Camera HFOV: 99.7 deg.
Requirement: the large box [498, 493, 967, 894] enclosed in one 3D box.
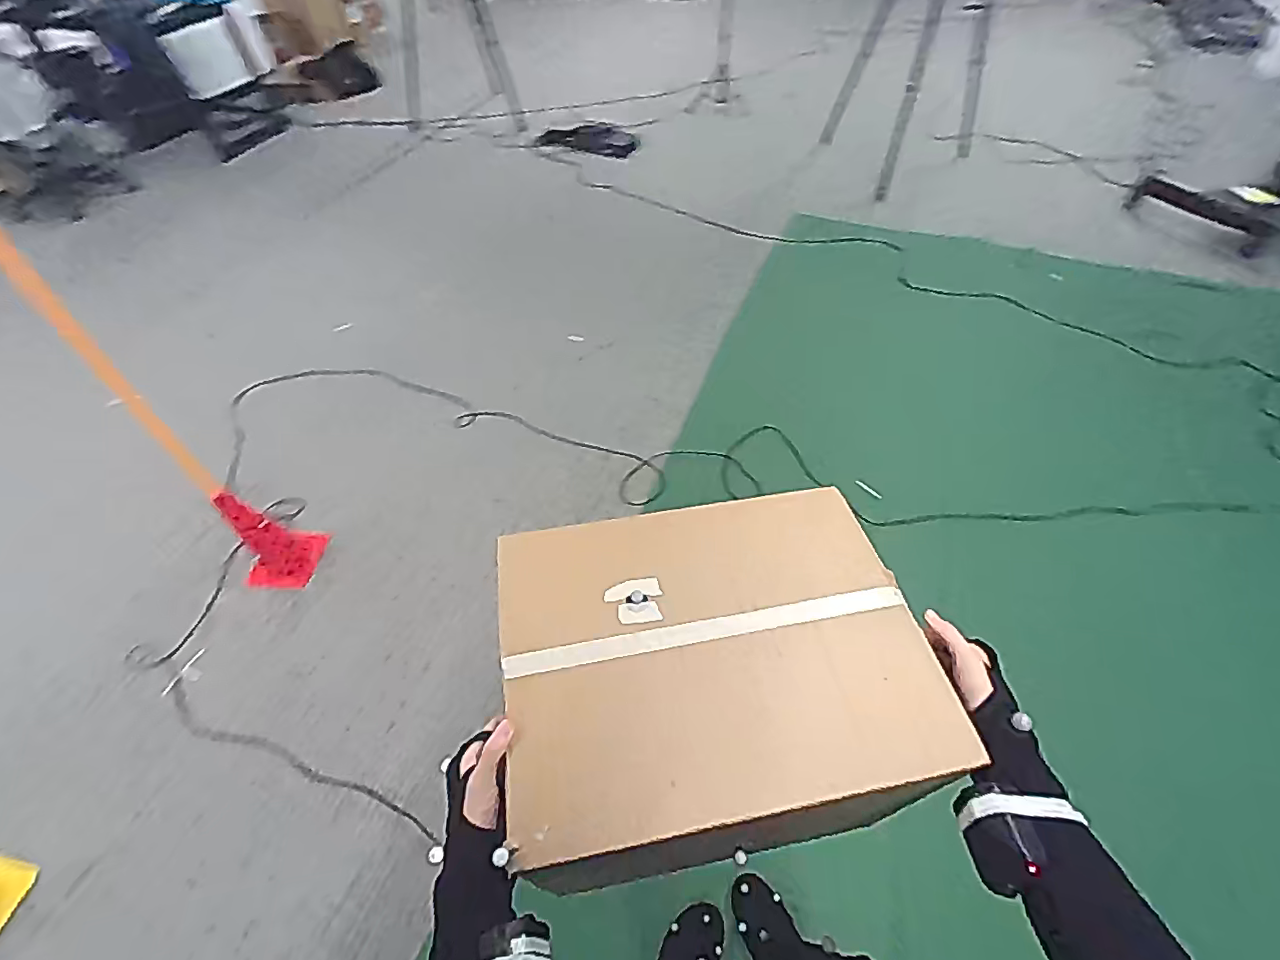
[{"bbox_3d":[0.068,0.258,0.654,0.408,0.320,0.320,-10,50,-7],"label":"large box"}]
